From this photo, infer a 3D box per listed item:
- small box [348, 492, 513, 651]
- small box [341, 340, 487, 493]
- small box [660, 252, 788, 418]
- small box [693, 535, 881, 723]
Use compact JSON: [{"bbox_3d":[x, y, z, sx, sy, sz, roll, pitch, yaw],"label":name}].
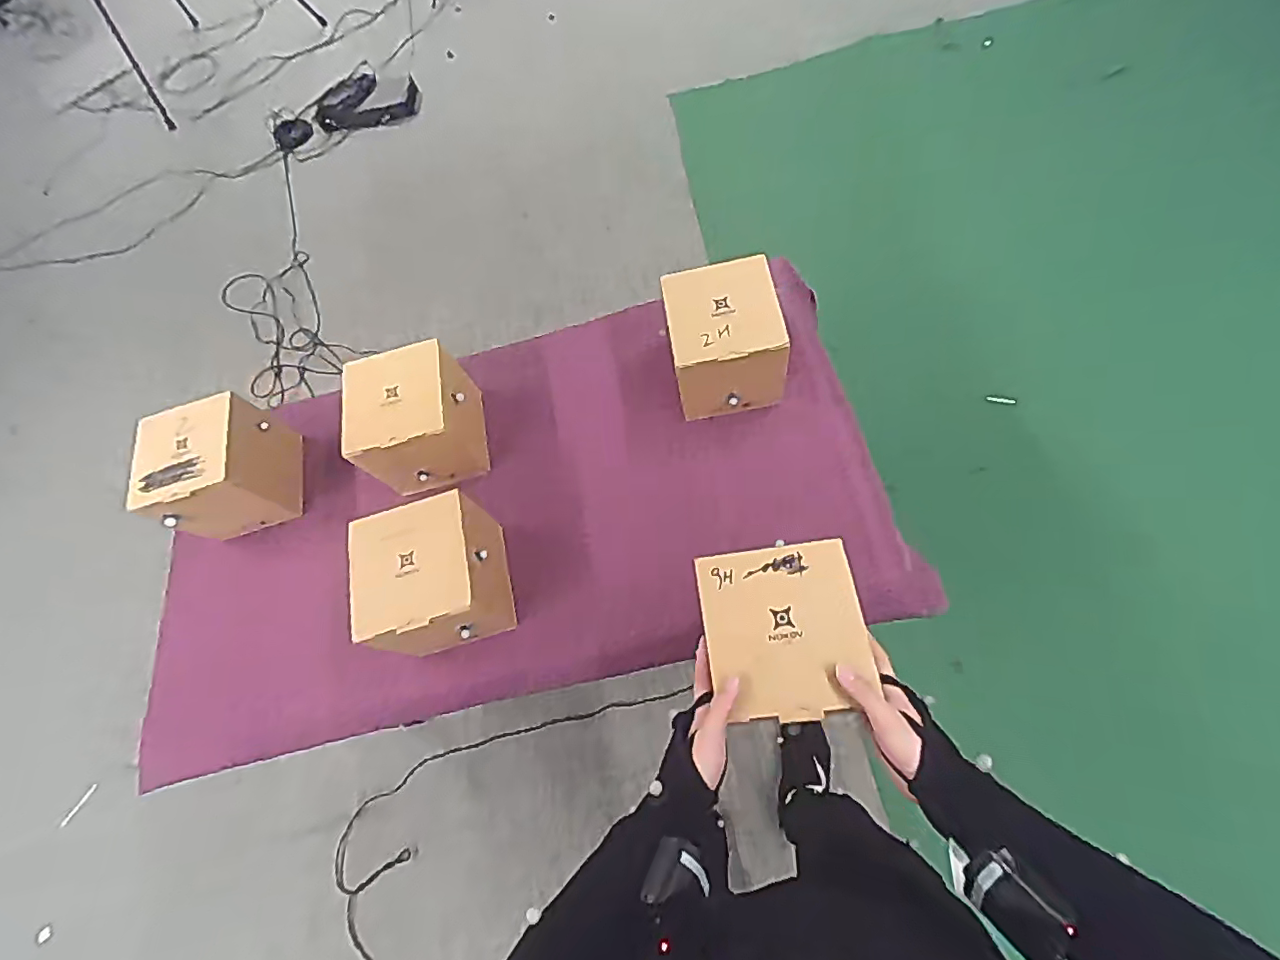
[{"bbox_3d":[-0.299,0.144,0.796,0.168,0.176,0.179,-17,65,2],"label":"small box"},{"bbox_3d":[-0.373,-0.100,0.910,0.168,0.176,0.179,-15,67,4],"label":"small box"},{"bbox_3d":[0.131,-0.224,0.866,0.168,0.176,0.179,-10,67,7],"label":"small box"},{"bbox_3d":[0.160,0.180,0.634,0.168,0.176,0.179,-9,66,6],"label":"small box"}]
